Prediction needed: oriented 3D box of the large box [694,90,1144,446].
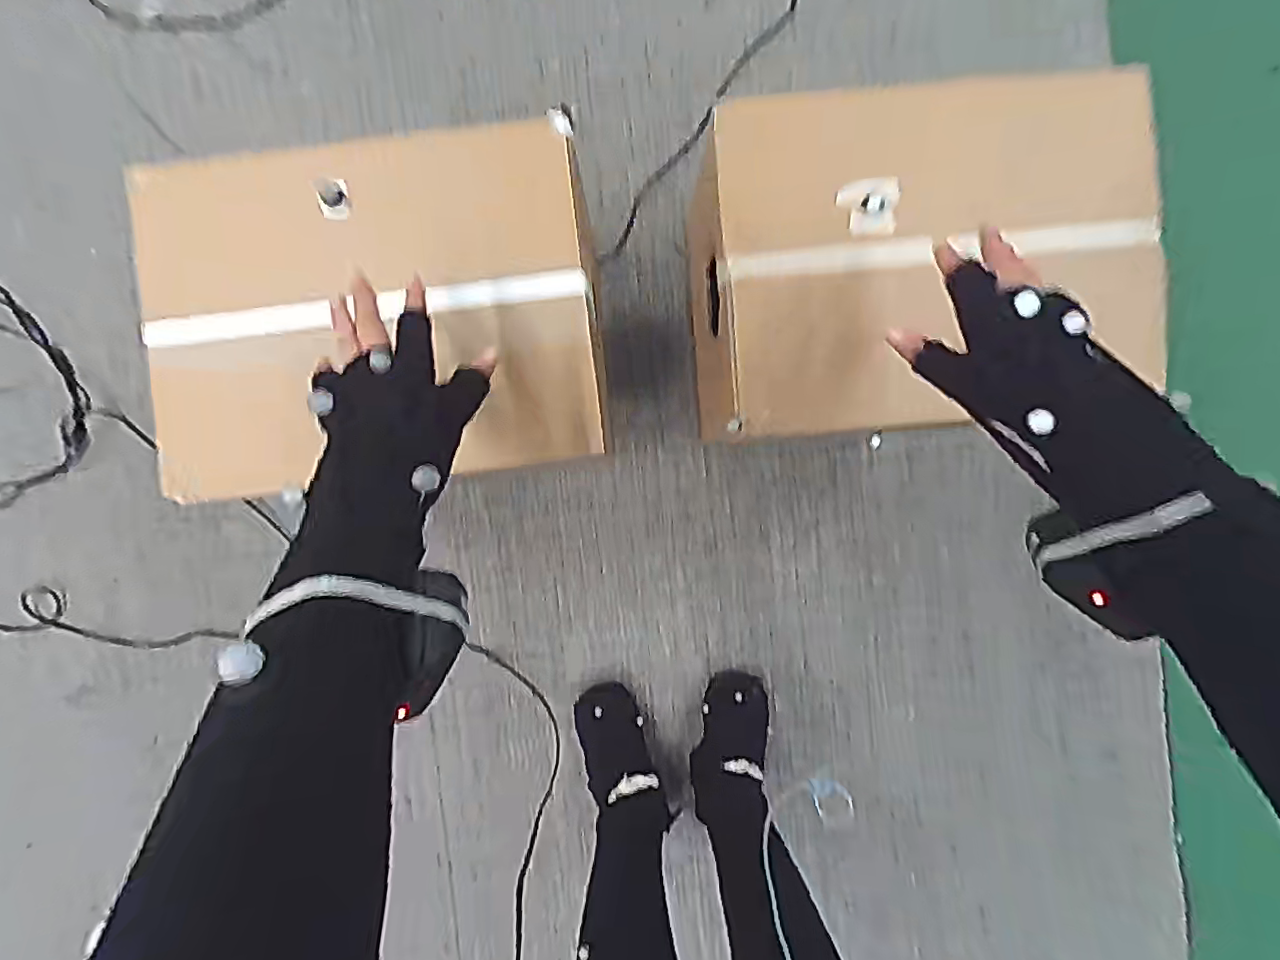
[{"bbox_3d":[0.289,-0.212,0.674,0.408,0.320,0.320,-4,92,0],"label":"large box"}]
